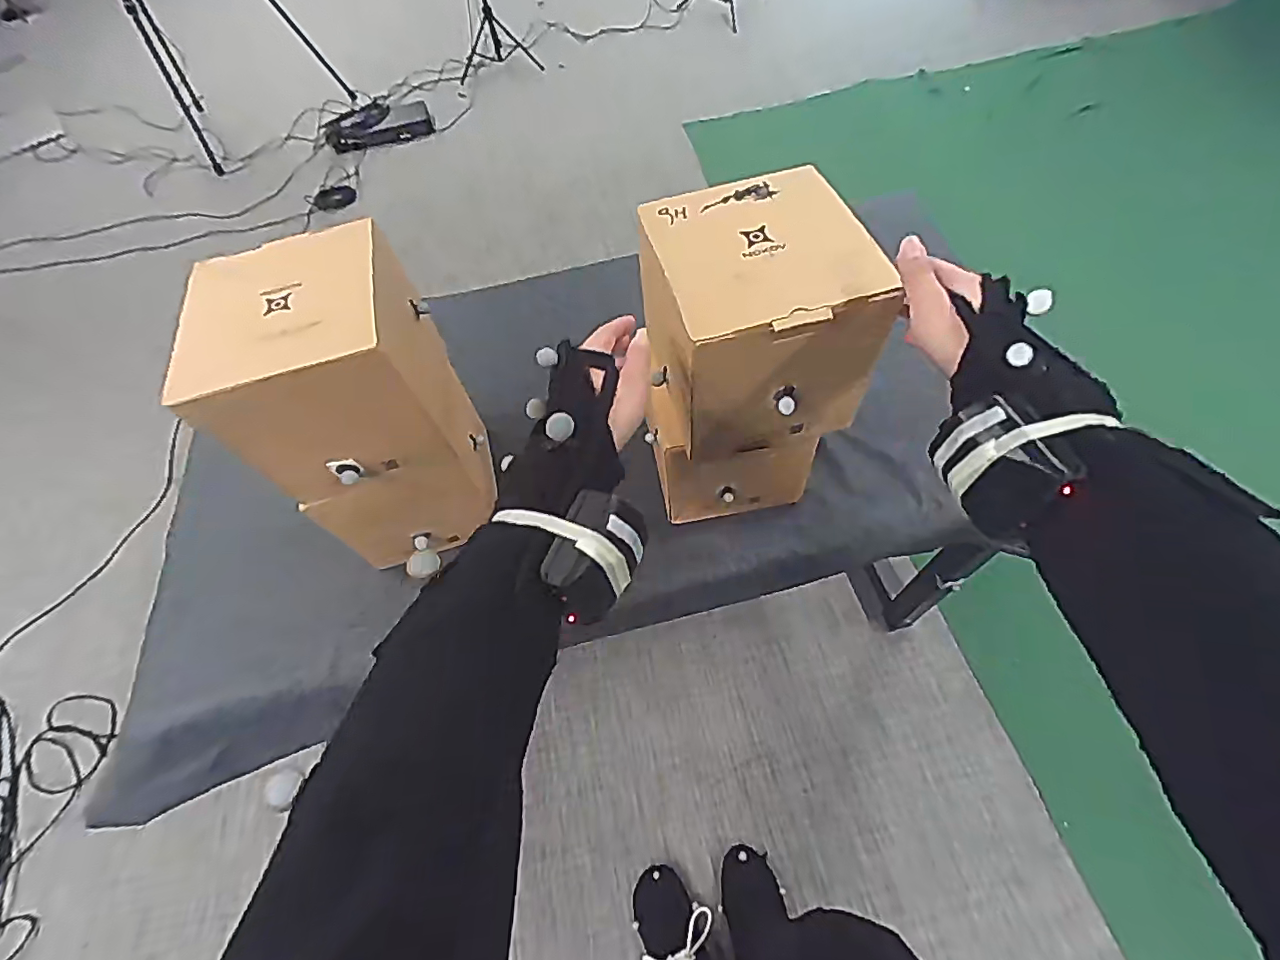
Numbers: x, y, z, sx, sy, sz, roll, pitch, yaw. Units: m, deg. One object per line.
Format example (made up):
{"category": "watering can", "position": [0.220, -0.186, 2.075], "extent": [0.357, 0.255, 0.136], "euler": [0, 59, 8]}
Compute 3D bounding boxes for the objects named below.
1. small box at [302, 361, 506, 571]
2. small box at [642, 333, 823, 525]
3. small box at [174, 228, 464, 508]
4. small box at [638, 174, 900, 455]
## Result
{"category": "small box", "position": [-0.276, -0.015, 0.658], "extent": [0.168, 0.176, 0.179], "euler": [-17, 59, -4]}
{"category": "small box", "position": [0.100, -0.069, 0.653], "extent": [0.168, 0.176, 0.179], "euler": [-11, 58, -1]}
{"category": "small box", "position": [-0.286, -0.101, 0.521], "extent": [0.168, 0.176, 0.179], "euler": [-18, 59, -3]}
{"category": "small box", "position": [0.103, -0.141, 0.505], "extent": [0.168, 0.176, 0.179], "euler": [-15, 60, -3]}
